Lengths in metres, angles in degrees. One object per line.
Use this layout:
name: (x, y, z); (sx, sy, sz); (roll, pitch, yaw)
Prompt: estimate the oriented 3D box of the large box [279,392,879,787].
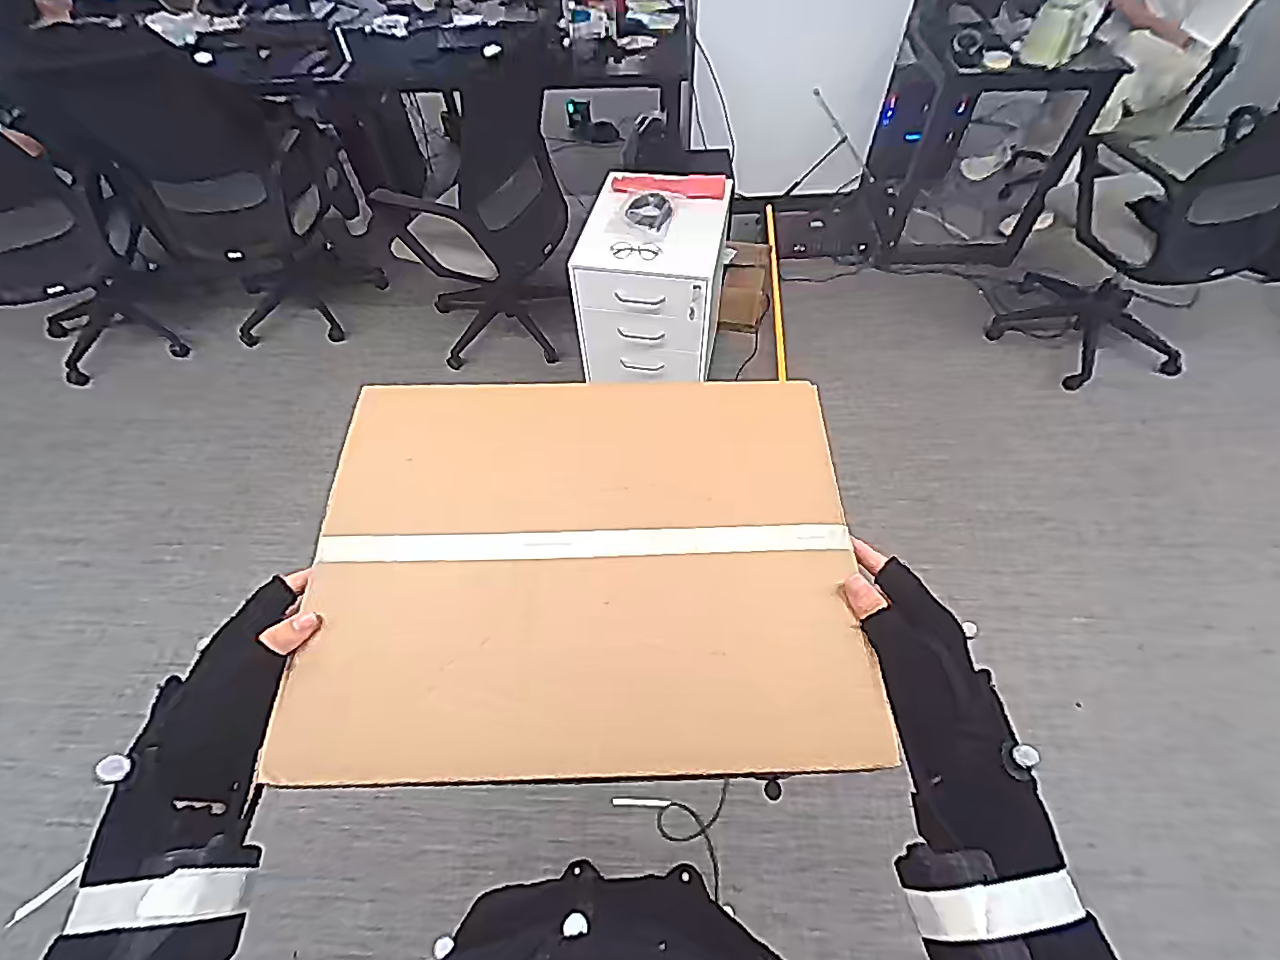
large box: (-0.043, 0.126, 0.555); (0.408, 0.320, 0.320); (0, 61, -2)
